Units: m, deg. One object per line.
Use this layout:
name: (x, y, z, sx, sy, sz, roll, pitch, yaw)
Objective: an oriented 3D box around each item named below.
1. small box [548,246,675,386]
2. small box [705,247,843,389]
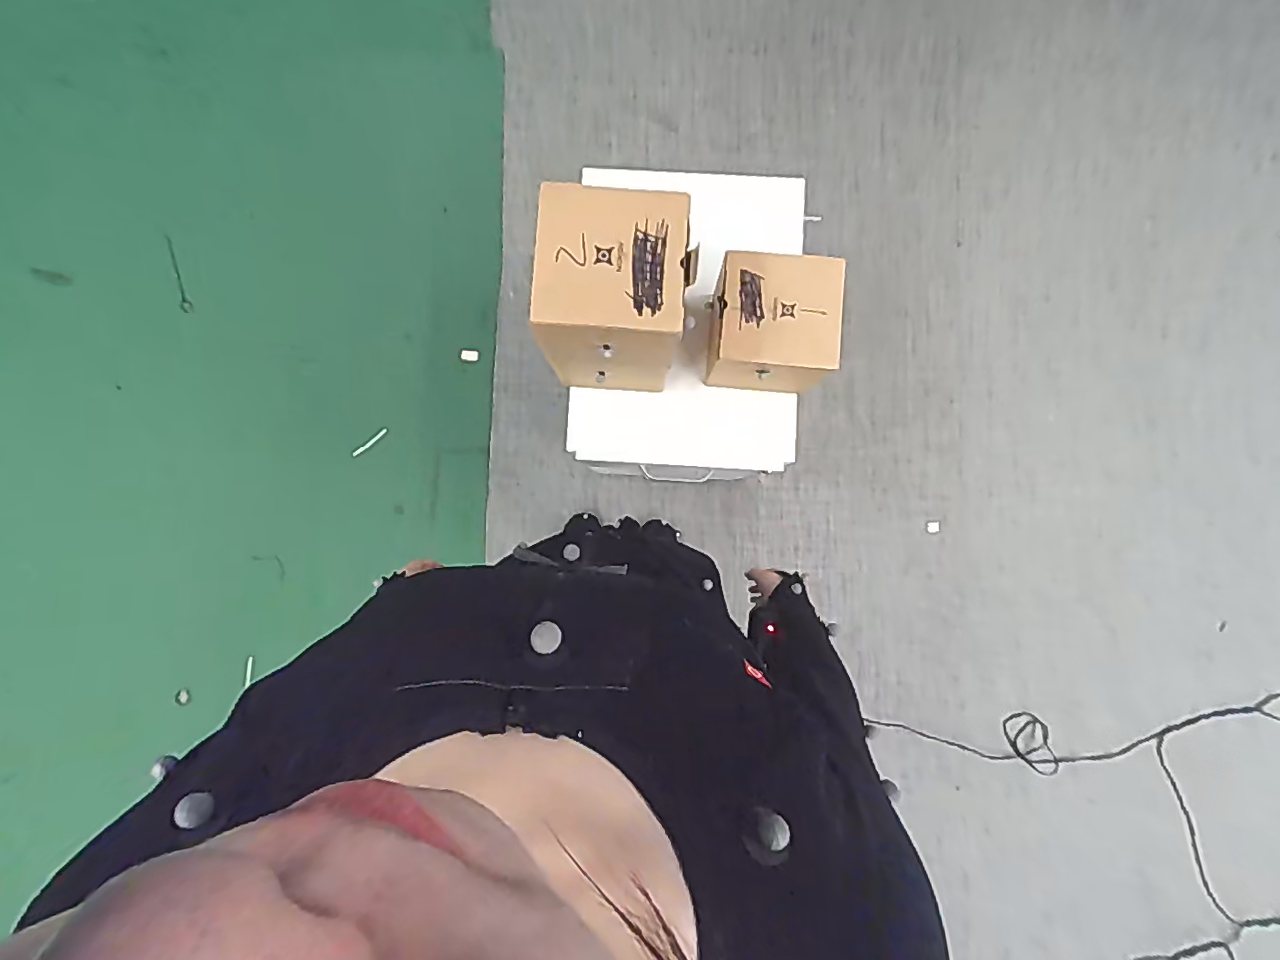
small box: (-0.042, -0.250, 0.861, 0.179, 0.176, 0.168, 4, 88, -1)
small box: (0.203, -0.248, 0.864, 0.179, 0.176, 0.168, 5, 87, 0)
